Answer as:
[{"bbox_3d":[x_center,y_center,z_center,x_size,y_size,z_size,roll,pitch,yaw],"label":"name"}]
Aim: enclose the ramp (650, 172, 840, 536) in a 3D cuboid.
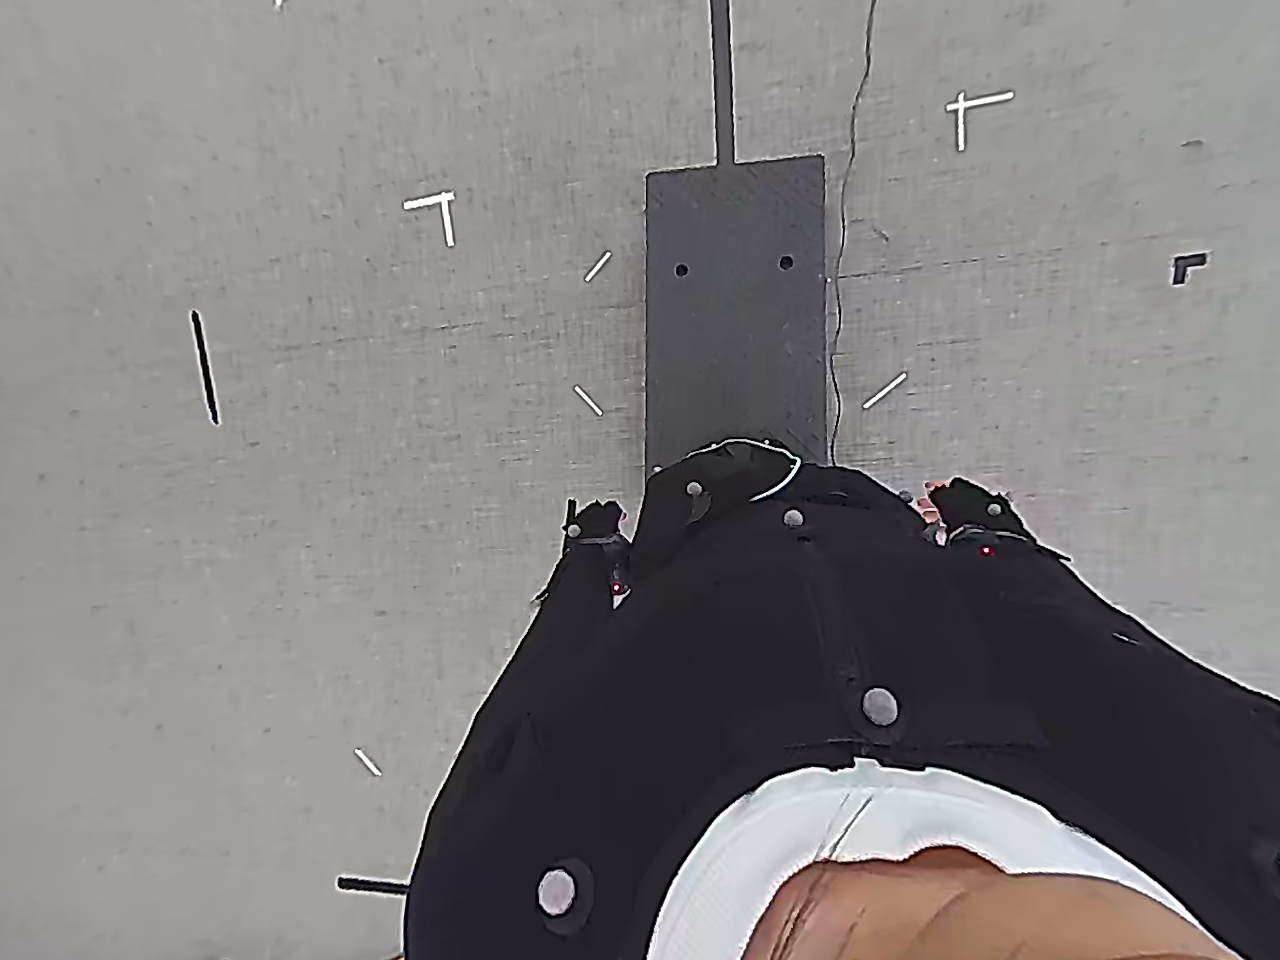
[{"bbox_3d":[0.276,-0.346,1.501,0.509,0.206,0.991,-3,95,13],"label":"ramp"}]
